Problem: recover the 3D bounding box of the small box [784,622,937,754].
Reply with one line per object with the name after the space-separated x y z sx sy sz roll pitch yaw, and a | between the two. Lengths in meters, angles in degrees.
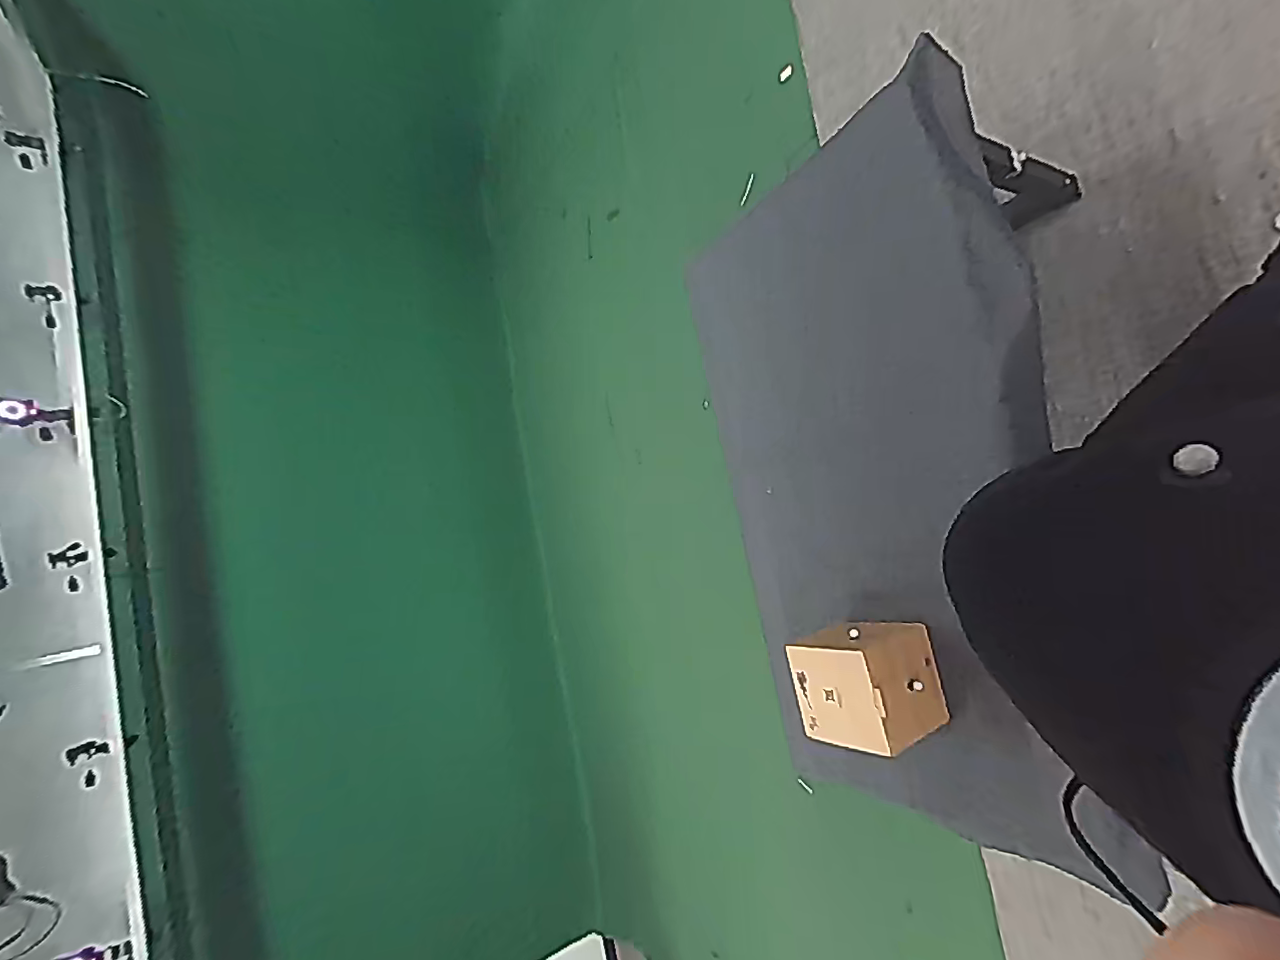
0.391 0.352 0.952 0.179 0.176 0.168 -23 77 56 | small box
